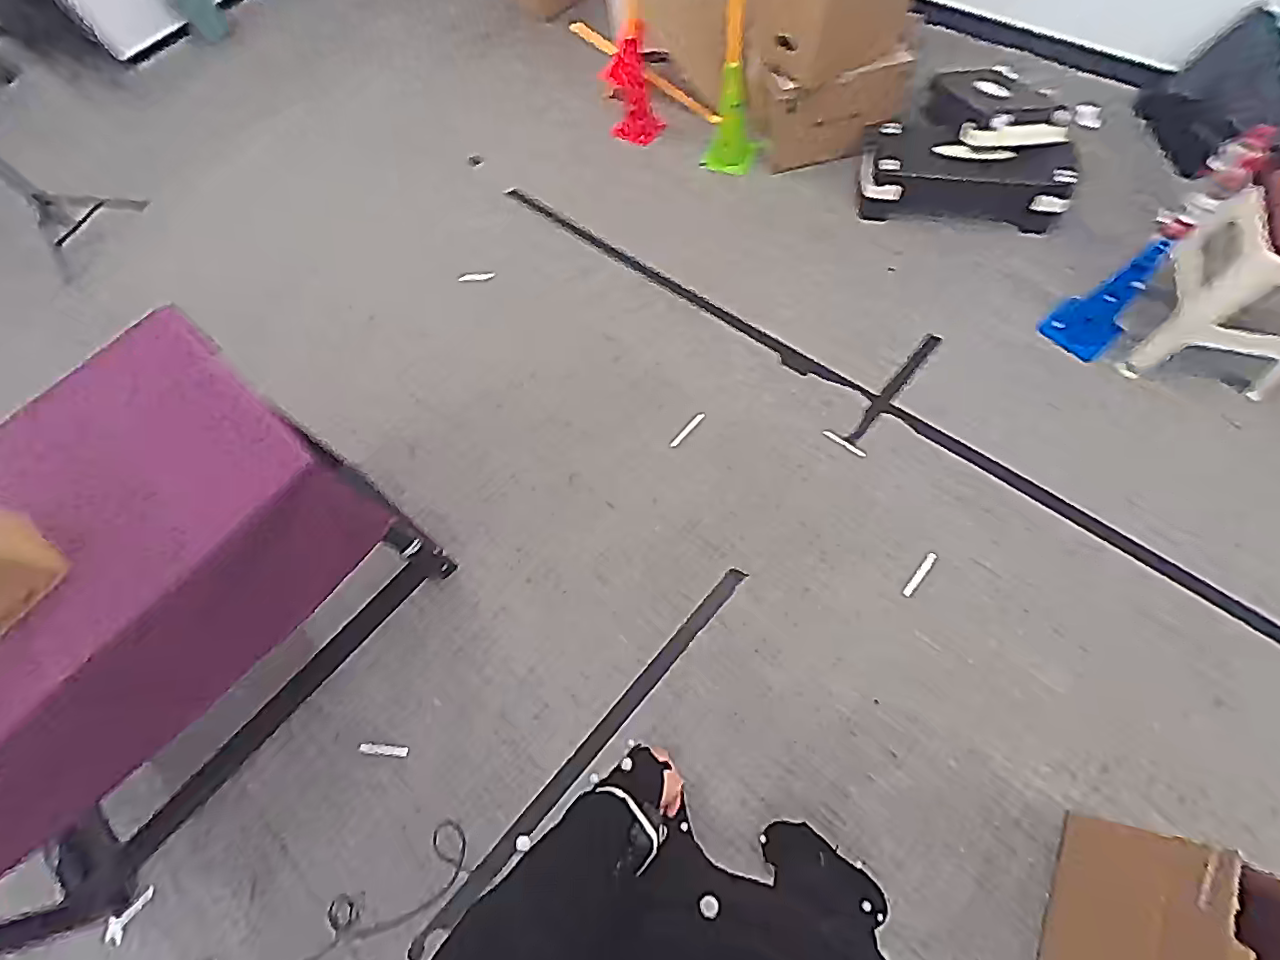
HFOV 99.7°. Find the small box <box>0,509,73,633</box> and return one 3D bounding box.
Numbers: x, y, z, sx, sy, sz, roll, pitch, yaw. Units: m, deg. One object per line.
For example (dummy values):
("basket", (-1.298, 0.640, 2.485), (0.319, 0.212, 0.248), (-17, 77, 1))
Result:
("small box", (-1.100, 0.141, 0.875), (0.179, 0.176, 0.168), (32, 73, 19))
